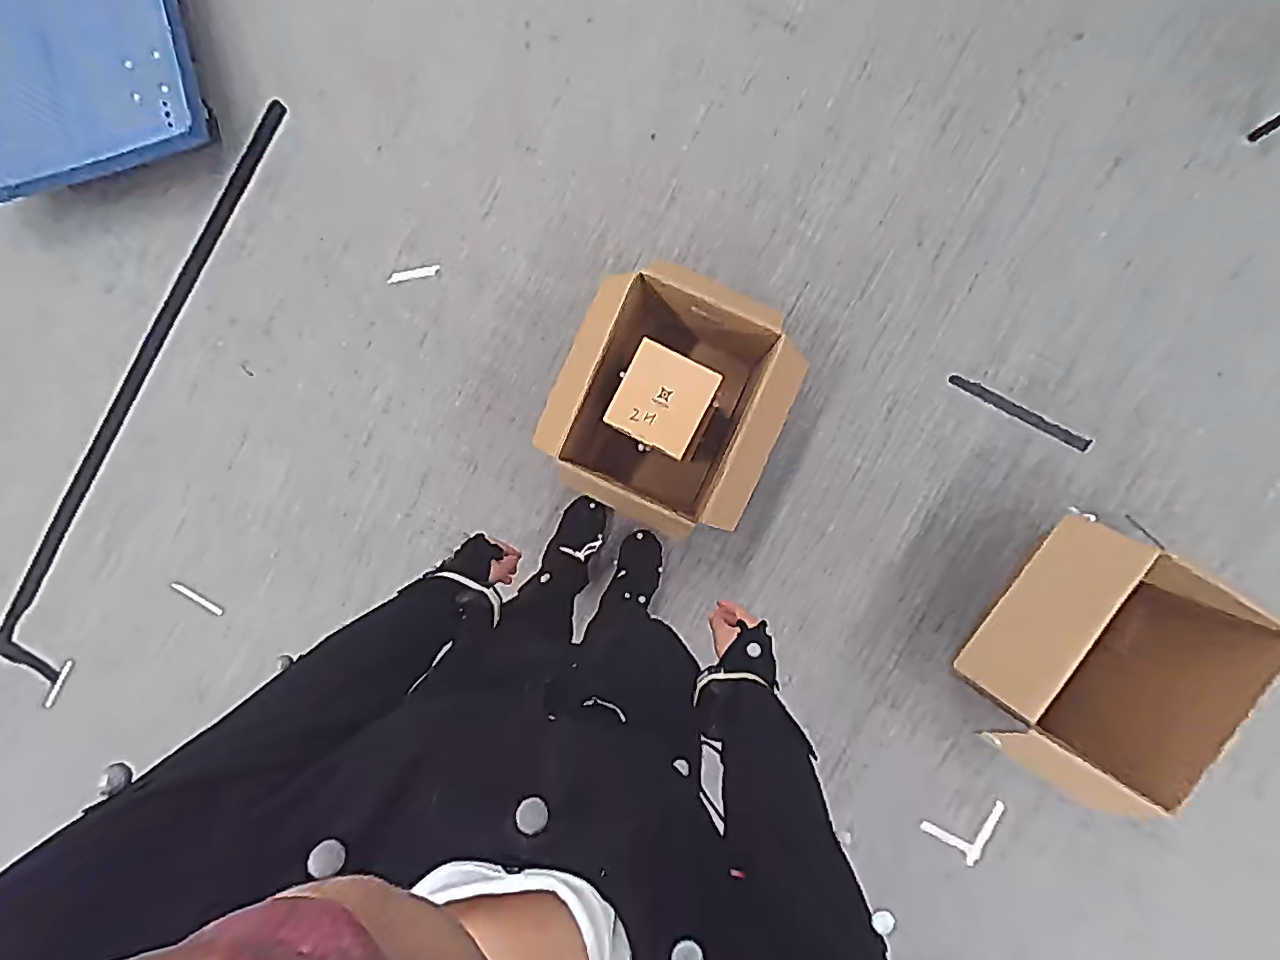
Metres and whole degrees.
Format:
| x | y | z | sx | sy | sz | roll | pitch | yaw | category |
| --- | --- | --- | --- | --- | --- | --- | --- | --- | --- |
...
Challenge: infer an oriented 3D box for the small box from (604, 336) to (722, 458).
| x | y | z | sx | sy | sz | roll | pitch | yaw | category |
| --- | --- | --- | --- | --- | --- | --- | --- | --- | --- |
| 0.045 | -0.156 | 1.083 | 0.168 | 0.176 | 0.179 | 27 | 92 | 3 | small box |
